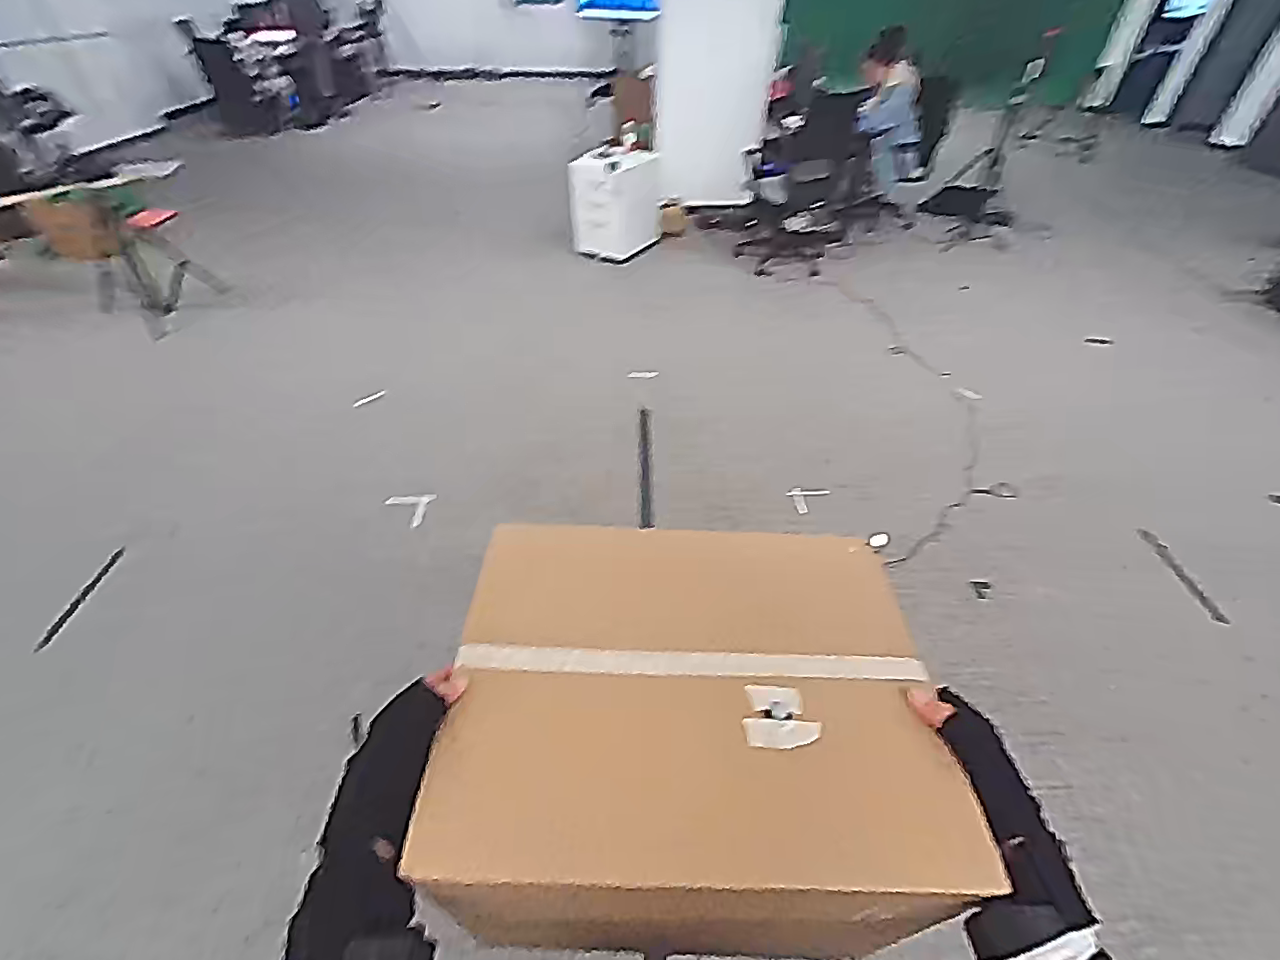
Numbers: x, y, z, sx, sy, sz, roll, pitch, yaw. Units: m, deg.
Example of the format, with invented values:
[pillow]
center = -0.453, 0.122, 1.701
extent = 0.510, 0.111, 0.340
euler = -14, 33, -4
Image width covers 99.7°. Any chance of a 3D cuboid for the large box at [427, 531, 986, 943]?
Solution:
[large box]
center = 0.041, 0.274, 0.583
extent = 0.408, 0.320, 0.320
euler = 2, 43, -1
